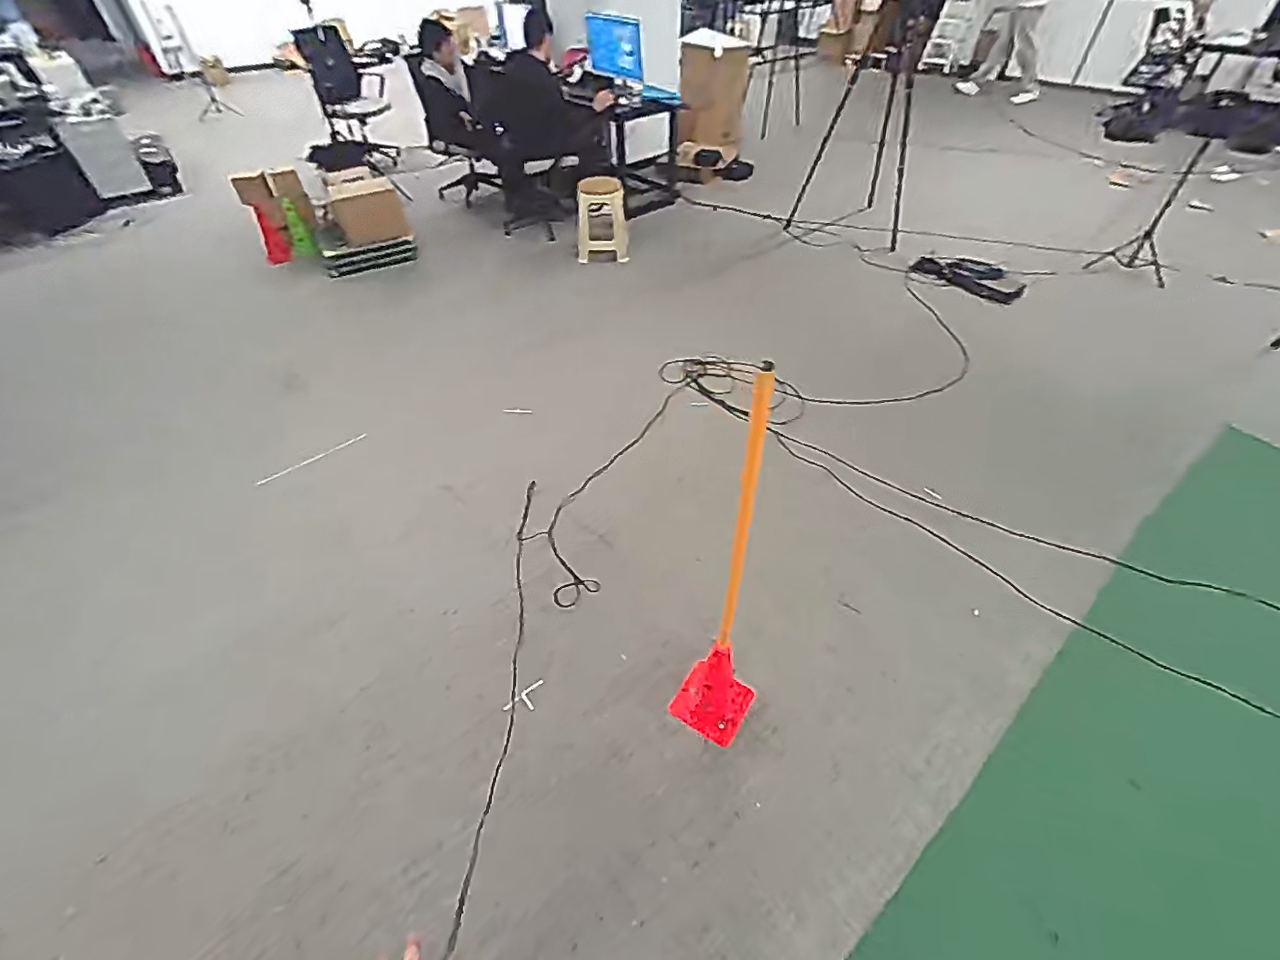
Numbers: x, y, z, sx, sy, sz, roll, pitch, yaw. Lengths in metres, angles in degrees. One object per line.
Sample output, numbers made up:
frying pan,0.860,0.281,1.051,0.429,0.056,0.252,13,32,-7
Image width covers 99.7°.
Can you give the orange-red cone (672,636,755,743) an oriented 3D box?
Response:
orange-red cone,0.220,0.530,1.487,0.198,0.360,0.199,27,51,24
